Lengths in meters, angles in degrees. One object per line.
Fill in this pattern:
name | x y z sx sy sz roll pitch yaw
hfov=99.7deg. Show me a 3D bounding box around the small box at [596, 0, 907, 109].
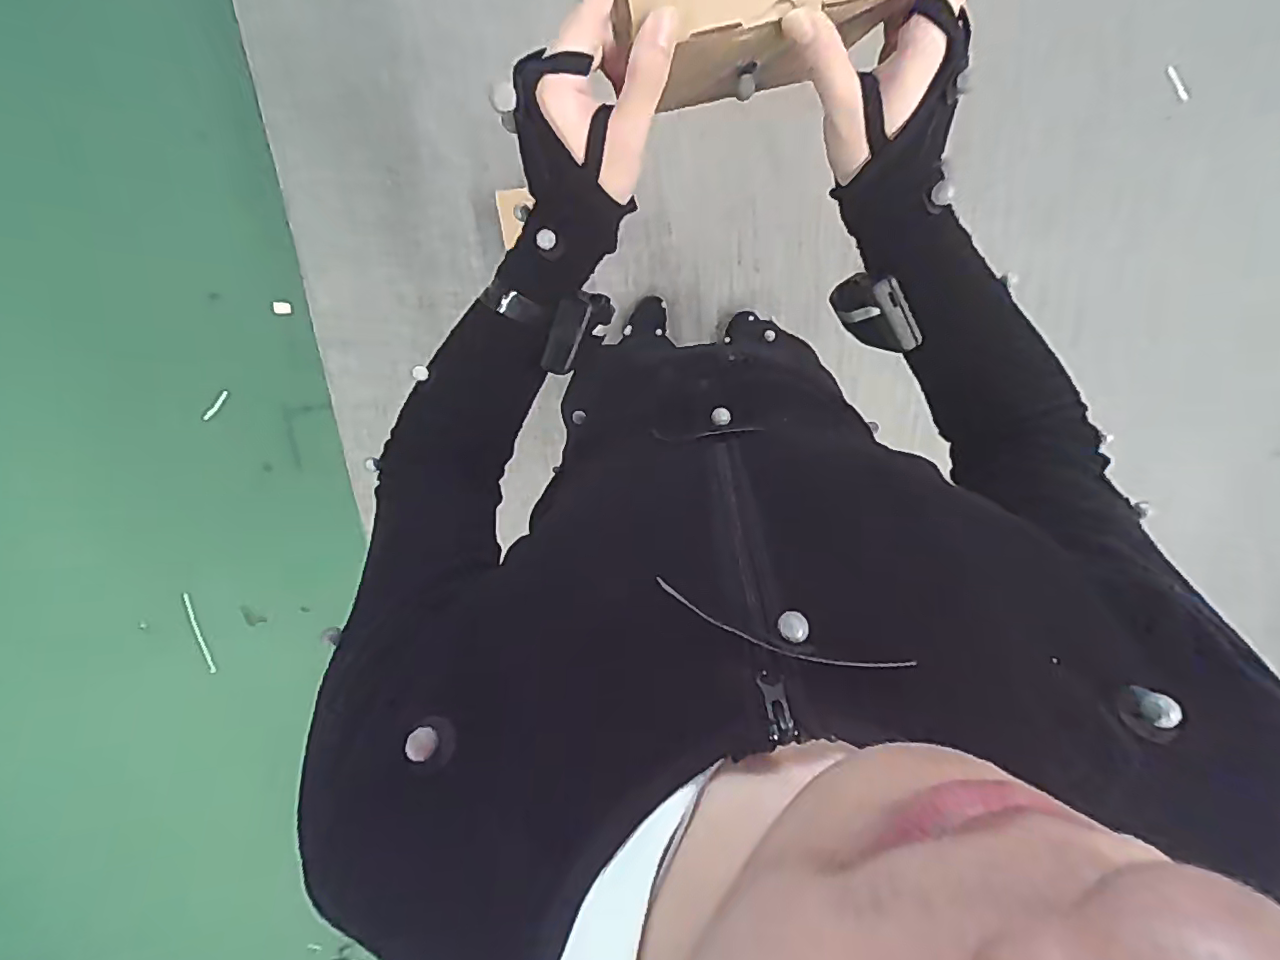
small box | 0.053 -0.360 0.344 0.168 0.176 0.179 -12 114 1
